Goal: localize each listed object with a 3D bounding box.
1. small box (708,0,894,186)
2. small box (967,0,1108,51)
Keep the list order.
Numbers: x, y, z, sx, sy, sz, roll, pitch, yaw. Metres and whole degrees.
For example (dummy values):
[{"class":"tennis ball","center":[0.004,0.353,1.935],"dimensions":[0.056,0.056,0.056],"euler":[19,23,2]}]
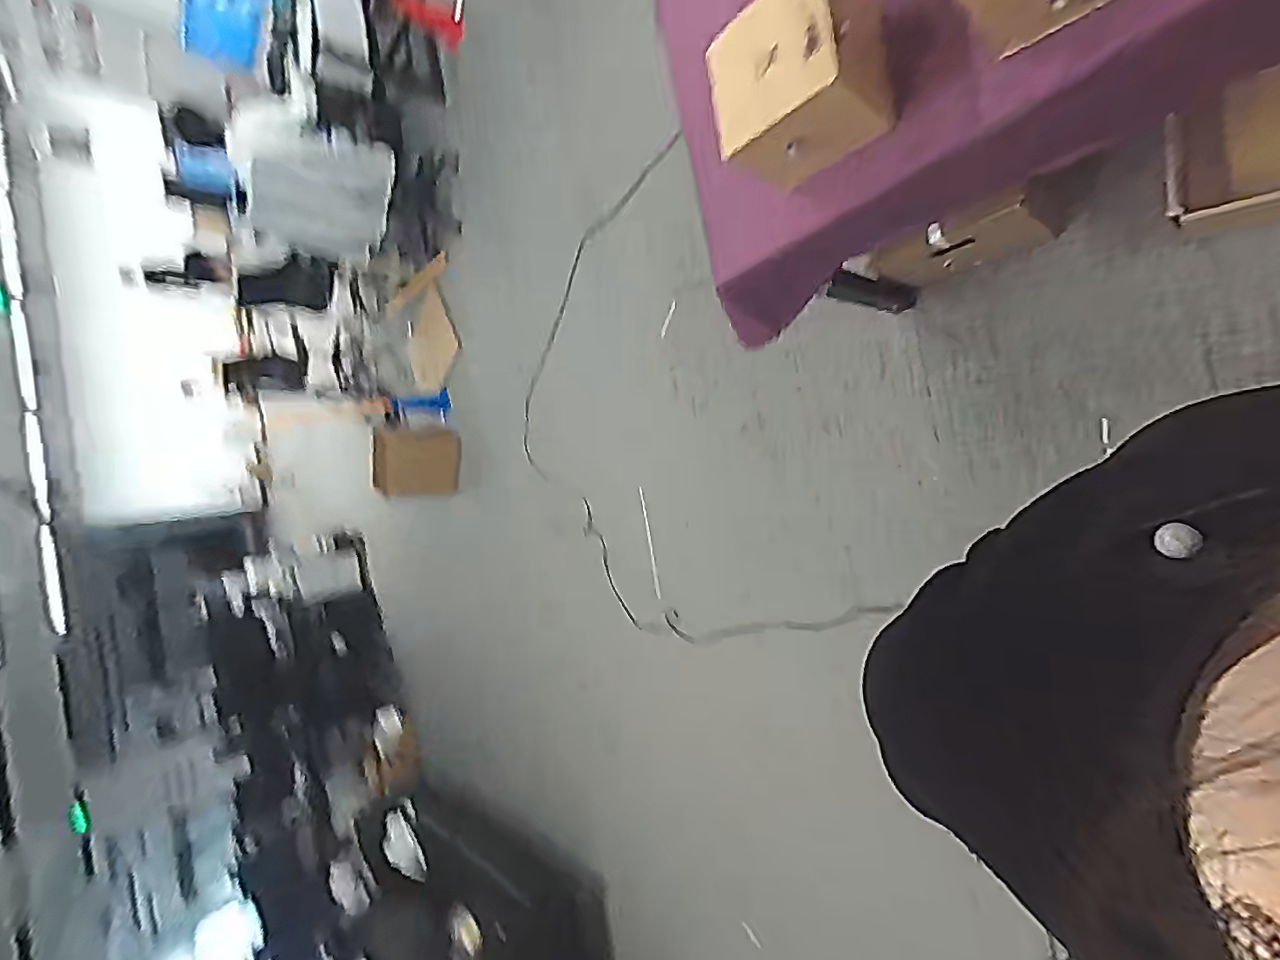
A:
[{"class":"small box","center":[0.225,-0.549,0.760],"dimensions":[0.179,0.176,0.168],"euler":[-11,89,49]},{"class":"small box","center":[0.420,-0.591,0.538],"dimensions":[0.168,0.176,0.179],"euler":[-3,94,49]}]
